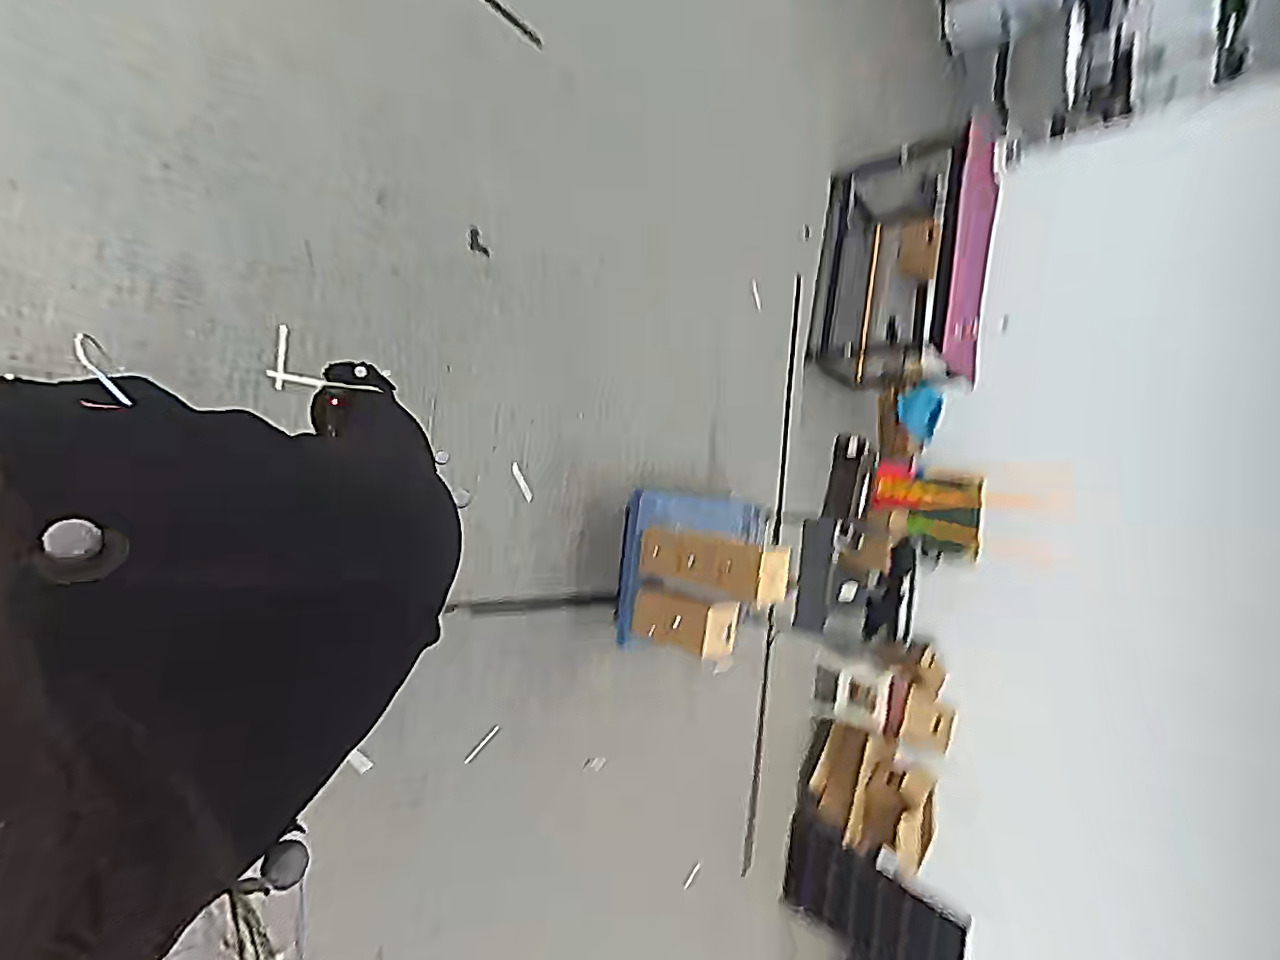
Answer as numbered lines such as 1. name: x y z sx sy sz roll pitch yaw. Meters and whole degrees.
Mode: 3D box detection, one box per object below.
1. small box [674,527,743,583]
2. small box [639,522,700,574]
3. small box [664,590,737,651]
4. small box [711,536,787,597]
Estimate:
1. small box: 0.233 0.253 1.855 0.179 0.176 0.168 2 92 -46
2. small box: 0.115 0.244 1.969 0.179 0.176 0.168 5 91 -47
3. small box: 0.206 0.472 1.846 0.179 0.176 0.168 9 86 -46
4. small box: 0.353 0.273 1.745 0.179 0.176 0.168 5 90 -46
